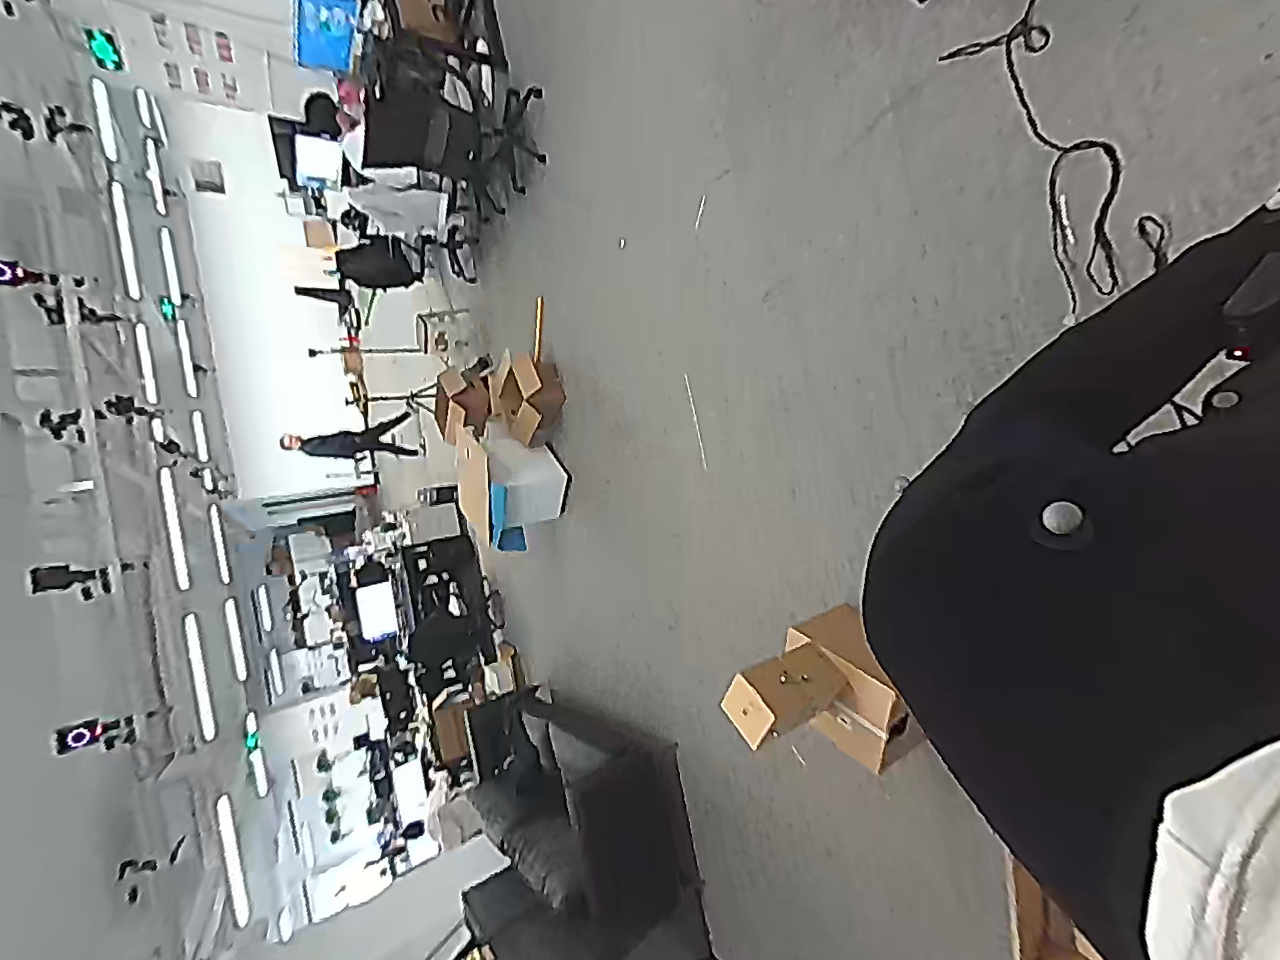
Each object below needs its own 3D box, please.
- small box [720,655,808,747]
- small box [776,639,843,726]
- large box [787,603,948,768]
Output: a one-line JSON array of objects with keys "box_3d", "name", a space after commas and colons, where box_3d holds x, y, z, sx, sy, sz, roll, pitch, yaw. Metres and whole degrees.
[{"box_3d": [0.380, 0.668, 1.647, 0.168, 0.176, 0.179, 47, 133, 39], "name": "small box"}, {"box_3d": [0.518, 0.646, 1.736, 0.168, 0.176, 0.179, 48, 135, 39], "name": "small box"}, {"box_3d": [0.749, 0.670, 1.844, 0.408, 0.320, 0.320, 25, 119, 50], "name": "large box"}]
